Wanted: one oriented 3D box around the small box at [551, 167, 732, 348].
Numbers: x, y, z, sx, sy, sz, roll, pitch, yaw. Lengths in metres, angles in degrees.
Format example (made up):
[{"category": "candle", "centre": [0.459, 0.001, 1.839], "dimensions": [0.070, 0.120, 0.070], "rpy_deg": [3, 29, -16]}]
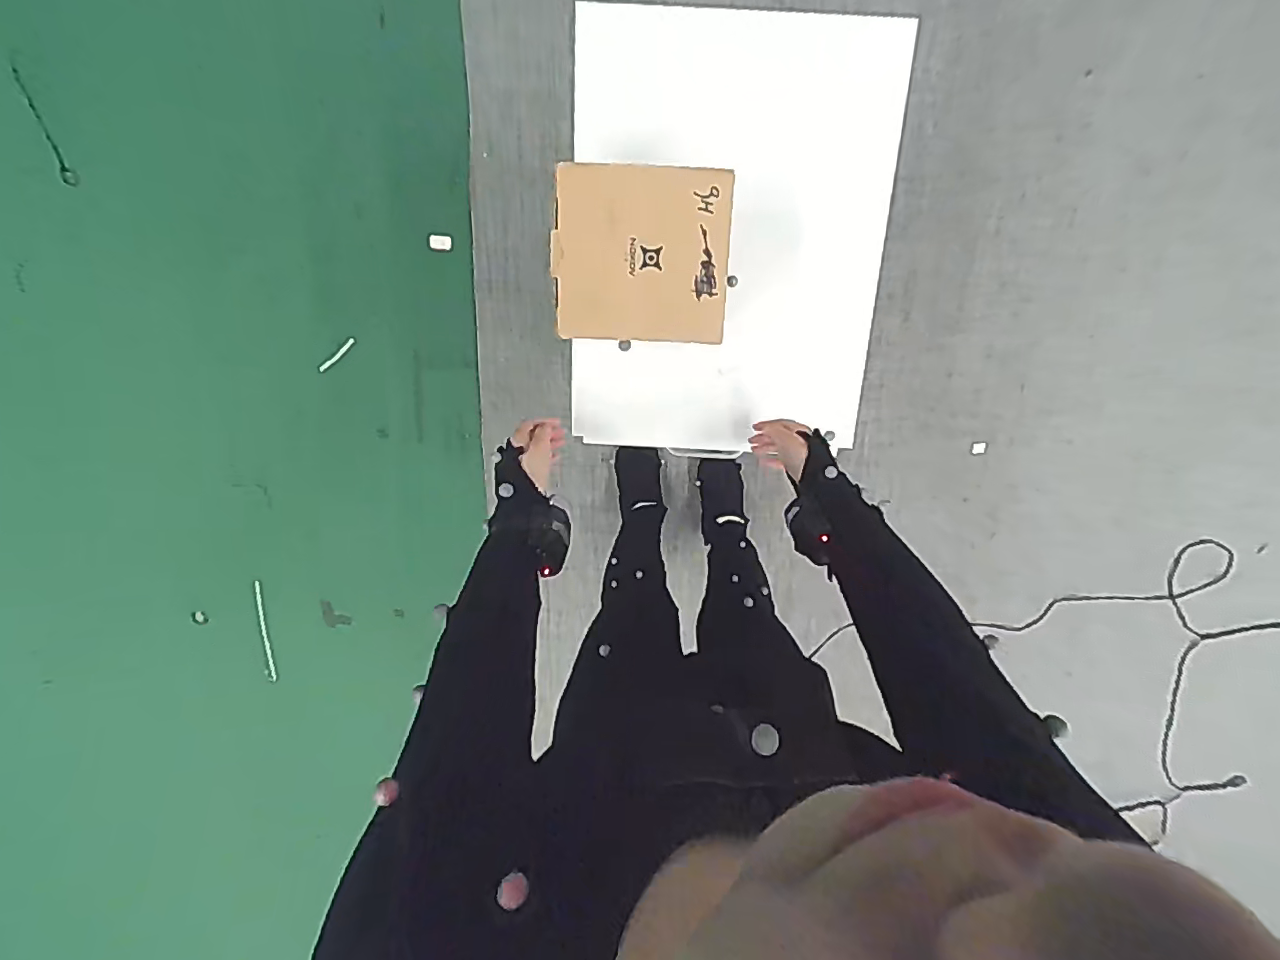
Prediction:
[{"category": "small box", "centre": [-0.001, -0.240, 0.618], "dimensions": [0.179, 0.176, 0.168], "rpy_deg": [2, 106, -1]}]
